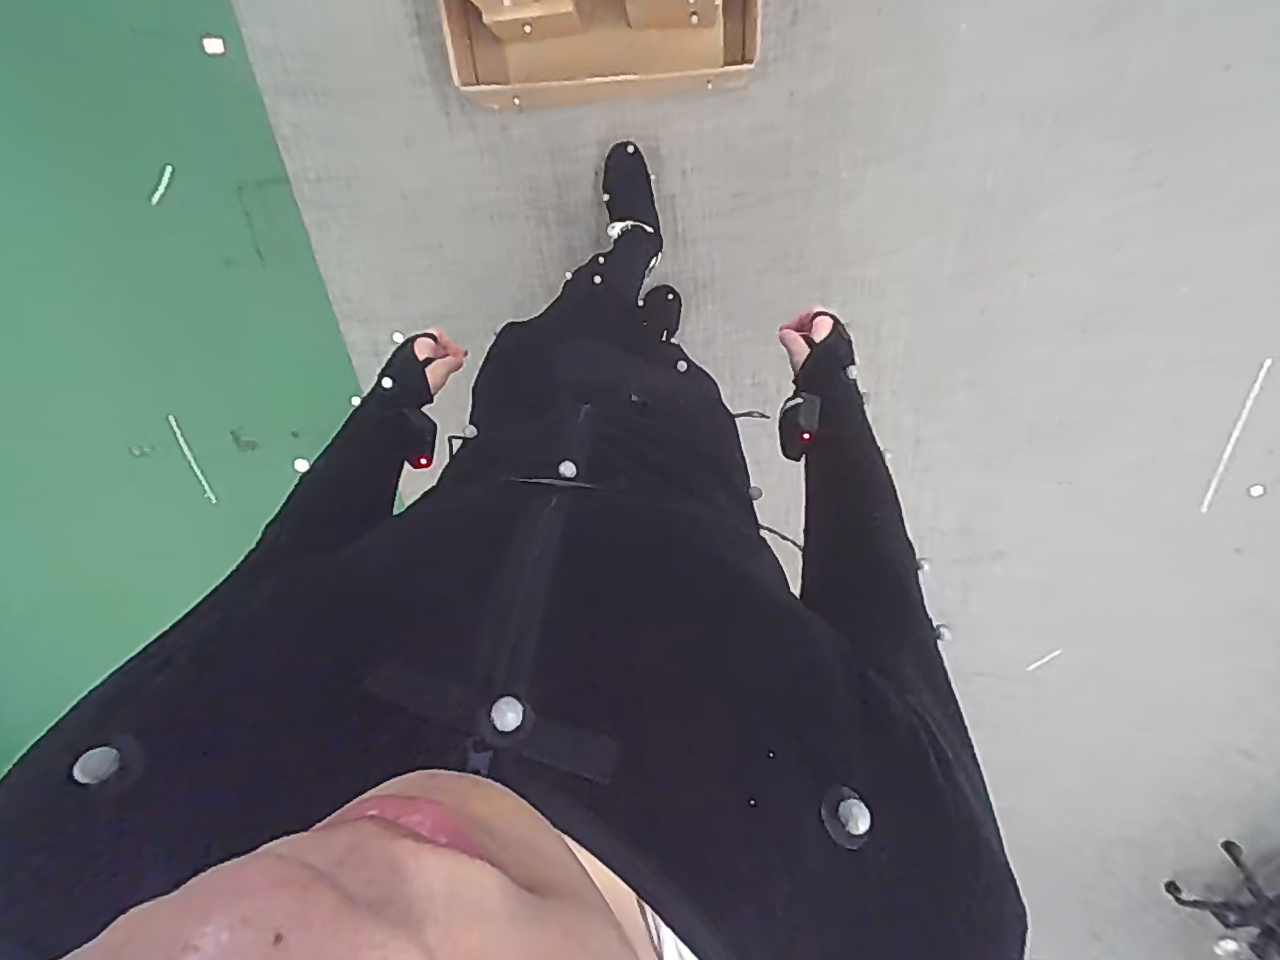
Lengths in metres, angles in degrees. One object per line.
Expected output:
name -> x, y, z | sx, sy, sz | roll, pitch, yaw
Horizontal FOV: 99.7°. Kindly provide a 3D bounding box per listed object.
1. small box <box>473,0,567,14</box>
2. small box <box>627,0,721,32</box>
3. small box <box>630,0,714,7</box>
small box -> -0.221, -0.915, 0.902 | 0.168, 0.176, 0.179 | -6, 117, 5
small box -> 0.066, -0.982, 1.033 | 0.179, 0.176, 0.168 | 1, 118, 3
small box -> 0.052, -0.909, 0.888 | 0.168, 0.176, 0.179 | 1, 118, 2
